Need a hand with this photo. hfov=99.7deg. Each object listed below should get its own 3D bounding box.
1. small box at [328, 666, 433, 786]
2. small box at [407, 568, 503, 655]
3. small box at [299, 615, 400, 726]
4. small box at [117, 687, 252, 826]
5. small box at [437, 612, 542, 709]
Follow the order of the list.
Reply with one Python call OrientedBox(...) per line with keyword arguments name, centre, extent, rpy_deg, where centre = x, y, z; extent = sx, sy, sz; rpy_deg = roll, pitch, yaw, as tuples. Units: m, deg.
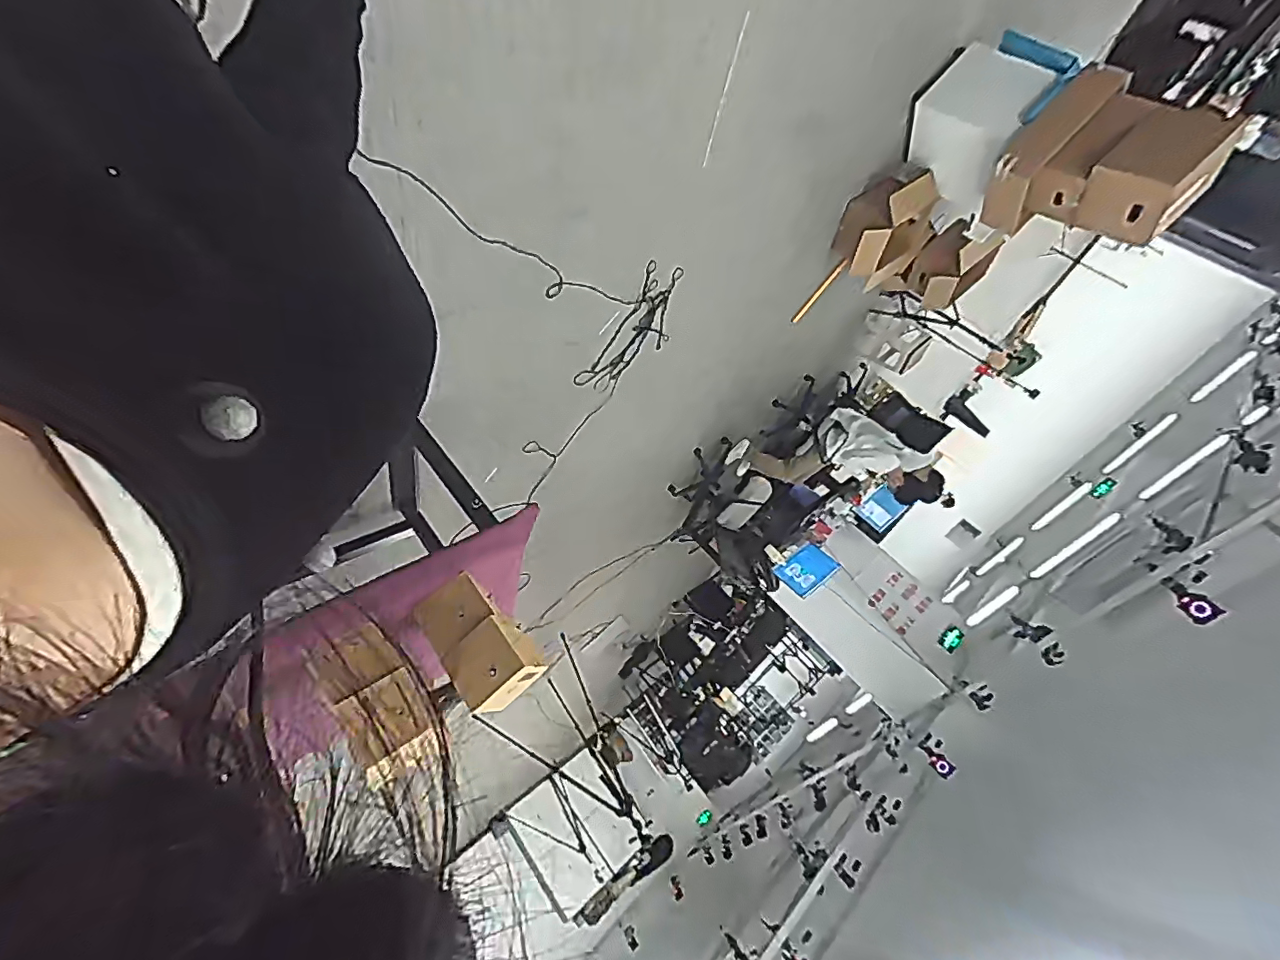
OrientedBox(name="small box", centre=(-0.601, 0.562, 1.255), extent=(0.168, 0.176, 0.179), rpy_deg=(-26, 153, -39))
OrientedBox(name="small box", centre=(-0.508, 0.374, 1.502), extent=(0.179, 0.176, 0.168), rpy_deg=(-38, 156, -15))
OrientedBox(name="small box", centre=(-0.709, 0.465, 1.329), extent=(0.168, 0.176, 0.179), rpy_deg=(-26, 151, -39))
OrientedBox(name="small box", centre=(-0.933, 0.558, 1.114), extent=(0.168, 0.176, 0.179), rpy_deg=(-21, 148, -42))
OrientedBox(name="small box", centre=(-0.397, 0.472, 1.429), extent=(0.179, 0.176, 0.168), rpy_deg=(-41, 157, -4))
